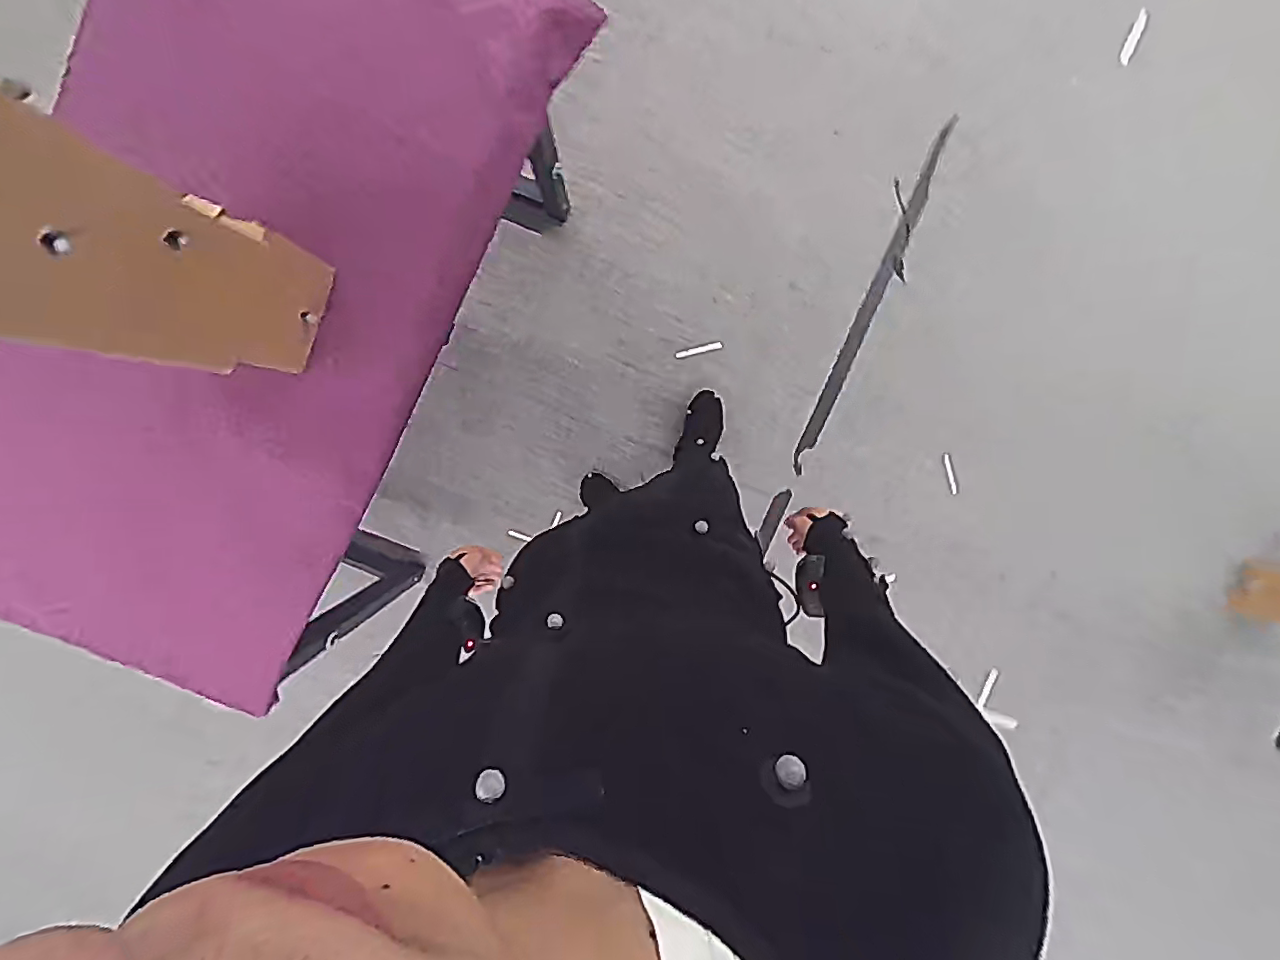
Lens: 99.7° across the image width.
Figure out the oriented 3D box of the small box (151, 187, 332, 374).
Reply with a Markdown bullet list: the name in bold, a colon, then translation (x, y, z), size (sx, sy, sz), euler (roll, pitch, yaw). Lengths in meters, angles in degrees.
- **small box**: translation (-0.574, -0.267, 0.767), size (0.168, 0.176, 0.179), euler (20, 93, -2)

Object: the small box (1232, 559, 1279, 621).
- **small box**: translation (1.987, 0.352, 1.637), size (0.179, 0.176, 0.168), euler (18, 93, -3)

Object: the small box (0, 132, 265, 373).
- **small box**: translation (-0.568, -0.233, 0.606), size (0.168, 0.176, 0.179), euler (20, 93, -2)
